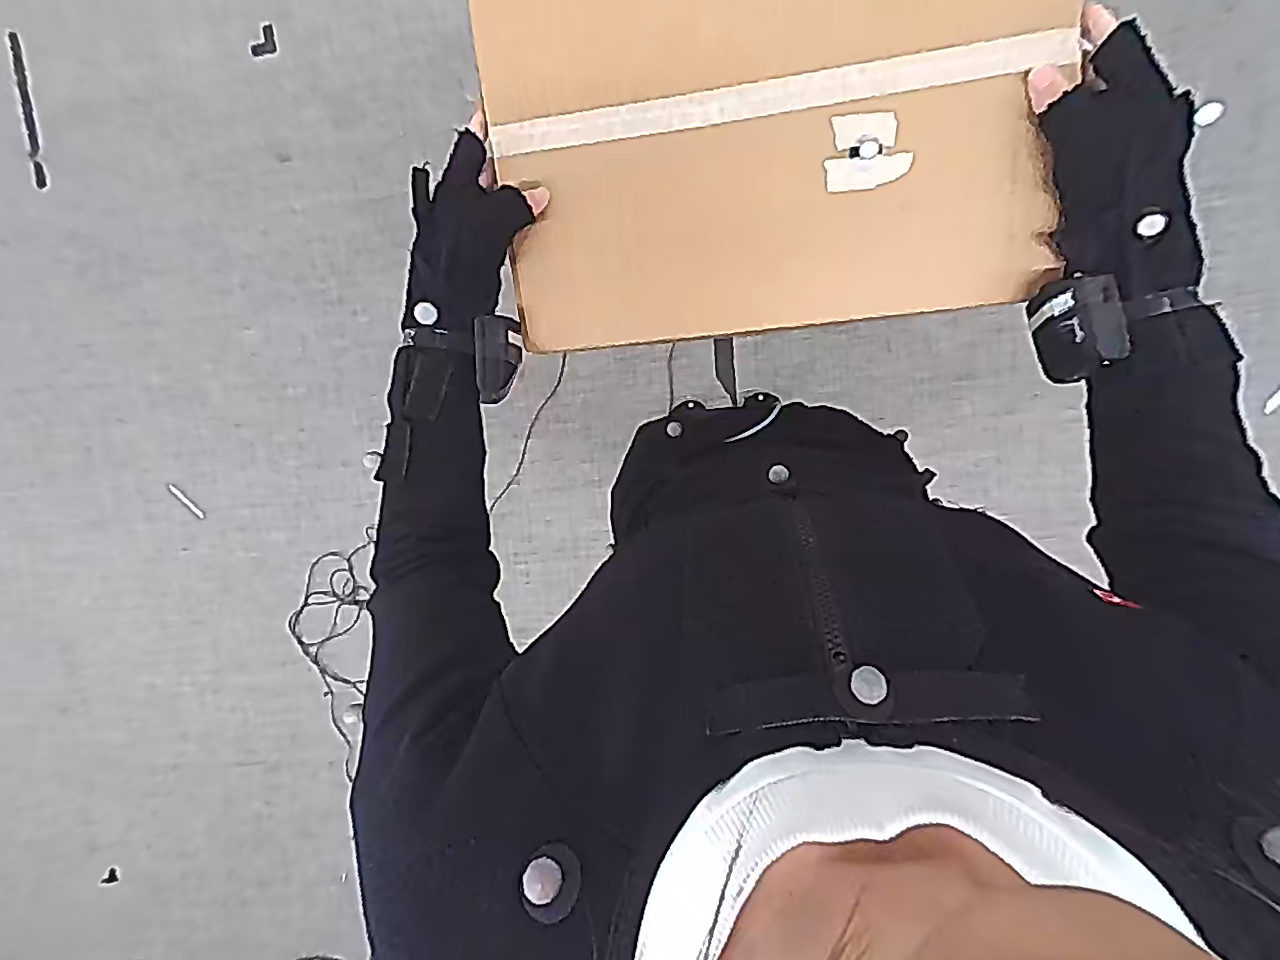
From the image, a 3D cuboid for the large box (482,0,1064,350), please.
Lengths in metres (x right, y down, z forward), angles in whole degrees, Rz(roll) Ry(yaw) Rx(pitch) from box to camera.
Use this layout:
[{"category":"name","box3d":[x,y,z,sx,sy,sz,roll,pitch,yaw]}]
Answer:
[{"category":"large box","box3d":[0.105,-0.312,0.539,0.408,0.320,0.320,-5,104,7]}]
